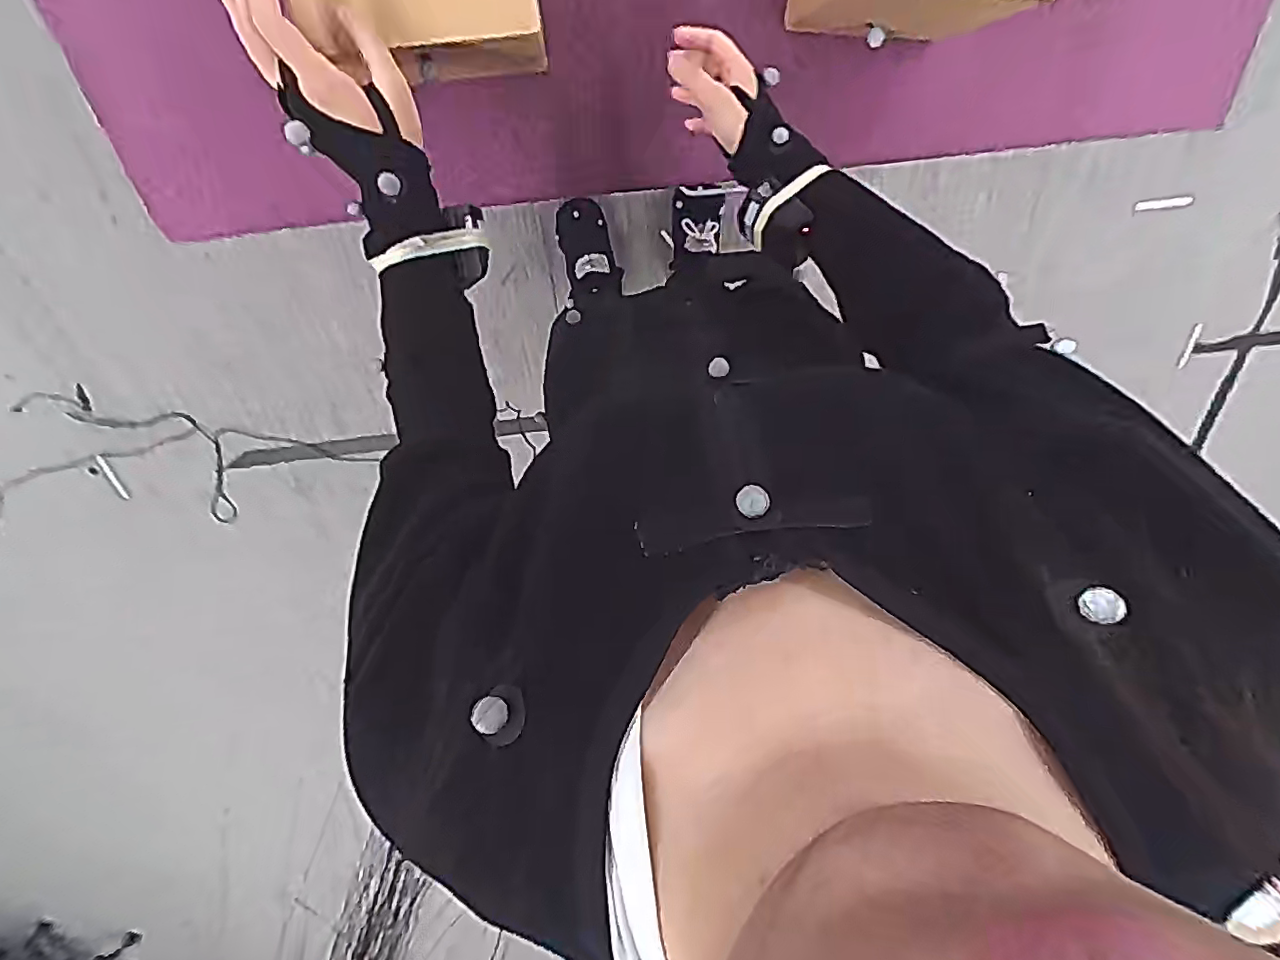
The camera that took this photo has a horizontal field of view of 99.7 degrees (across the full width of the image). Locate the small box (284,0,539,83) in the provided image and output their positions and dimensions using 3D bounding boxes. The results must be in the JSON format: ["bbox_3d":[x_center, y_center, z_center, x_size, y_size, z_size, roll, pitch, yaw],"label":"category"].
[{"bbox_3d":[-0.179,-0.430,0.427,0.179,0.176,0.168,-8,121,-2],"label":"small box"}]

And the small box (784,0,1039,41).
[{"bbox_3d":[0.232,-0.492,0.443,0.168,0.176,0.179,-1,121,-6],"label":"small box"}]
